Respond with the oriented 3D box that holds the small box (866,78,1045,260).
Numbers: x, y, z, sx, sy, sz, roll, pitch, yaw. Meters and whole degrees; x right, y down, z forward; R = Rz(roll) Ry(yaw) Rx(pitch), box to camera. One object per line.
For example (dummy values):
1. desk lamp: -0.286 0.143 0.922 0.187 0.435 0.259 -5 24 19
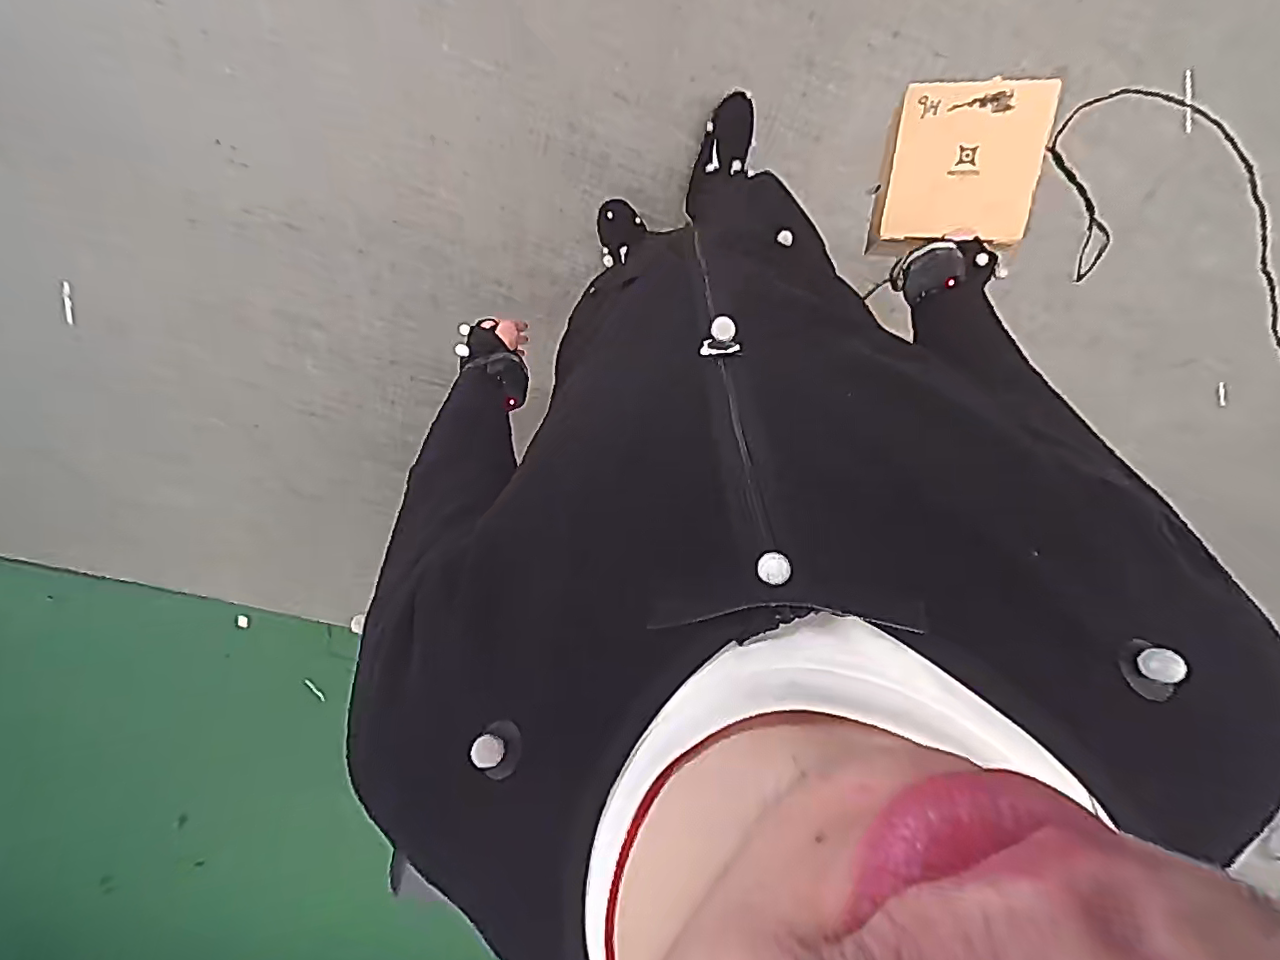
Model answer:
1. small box: 0.412 -0.405 0.741 0.168 0.176 0.179 5 101 15
